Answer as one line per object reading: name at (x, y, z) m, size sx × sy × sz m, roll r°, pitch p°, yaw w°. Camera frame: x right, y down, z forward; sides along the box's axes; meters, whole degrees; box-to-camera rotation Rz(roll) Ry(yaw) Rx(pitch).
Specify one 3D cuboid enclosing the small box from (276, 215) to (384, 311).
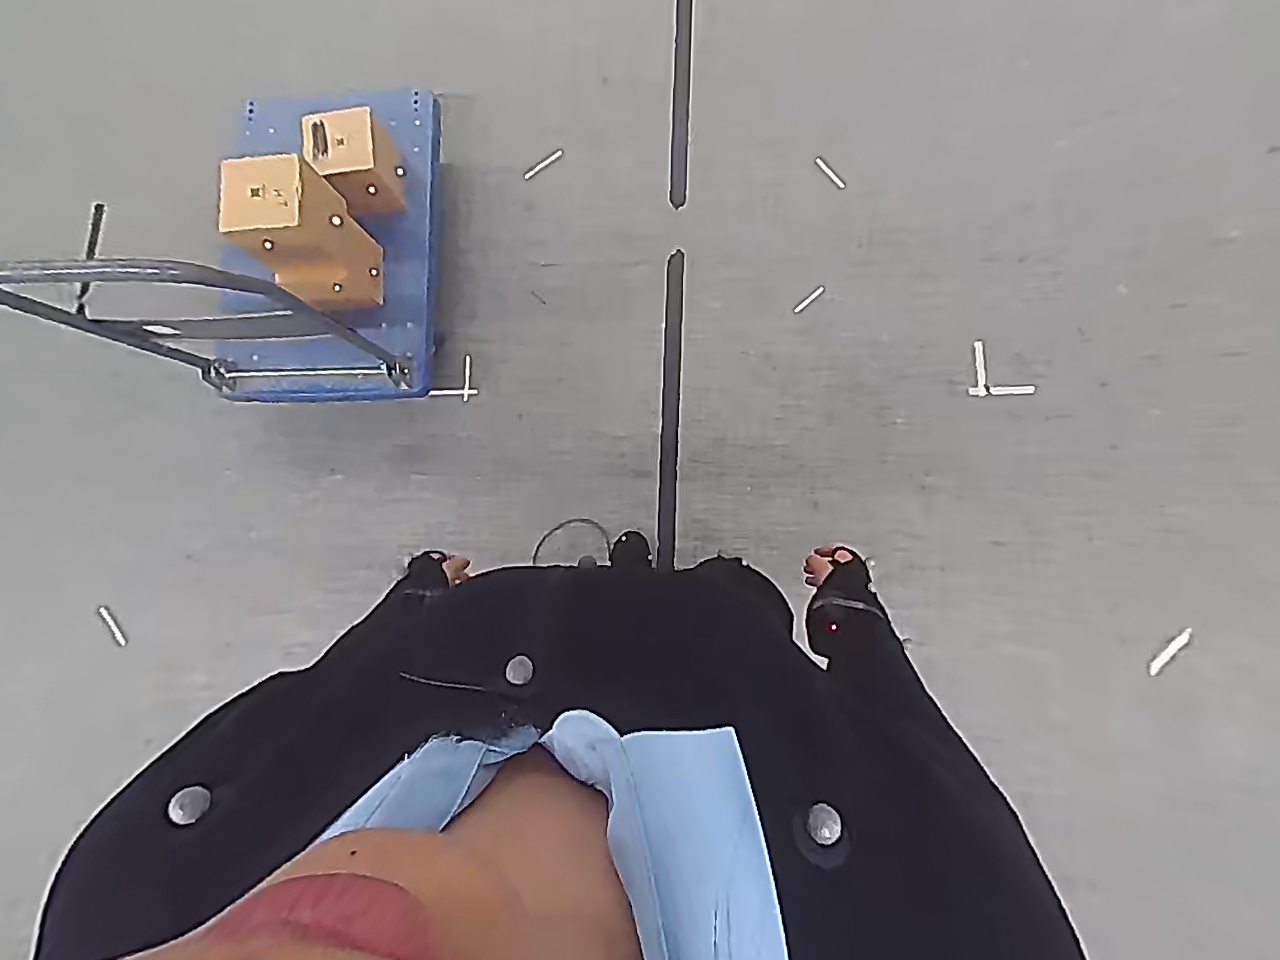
small box at (-0.778, -0.542, 1.367) m, size 0.179 × 0.176 × 0.168 m, roll -4°, pitch 83°, yaw 3°

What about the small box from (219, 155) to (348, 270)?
small box at (-0.788, -0.587, 1.207) m, size 0.179 × 0.176 × 0.168 m, roll -3°, pitch 83°, yaw 2°
